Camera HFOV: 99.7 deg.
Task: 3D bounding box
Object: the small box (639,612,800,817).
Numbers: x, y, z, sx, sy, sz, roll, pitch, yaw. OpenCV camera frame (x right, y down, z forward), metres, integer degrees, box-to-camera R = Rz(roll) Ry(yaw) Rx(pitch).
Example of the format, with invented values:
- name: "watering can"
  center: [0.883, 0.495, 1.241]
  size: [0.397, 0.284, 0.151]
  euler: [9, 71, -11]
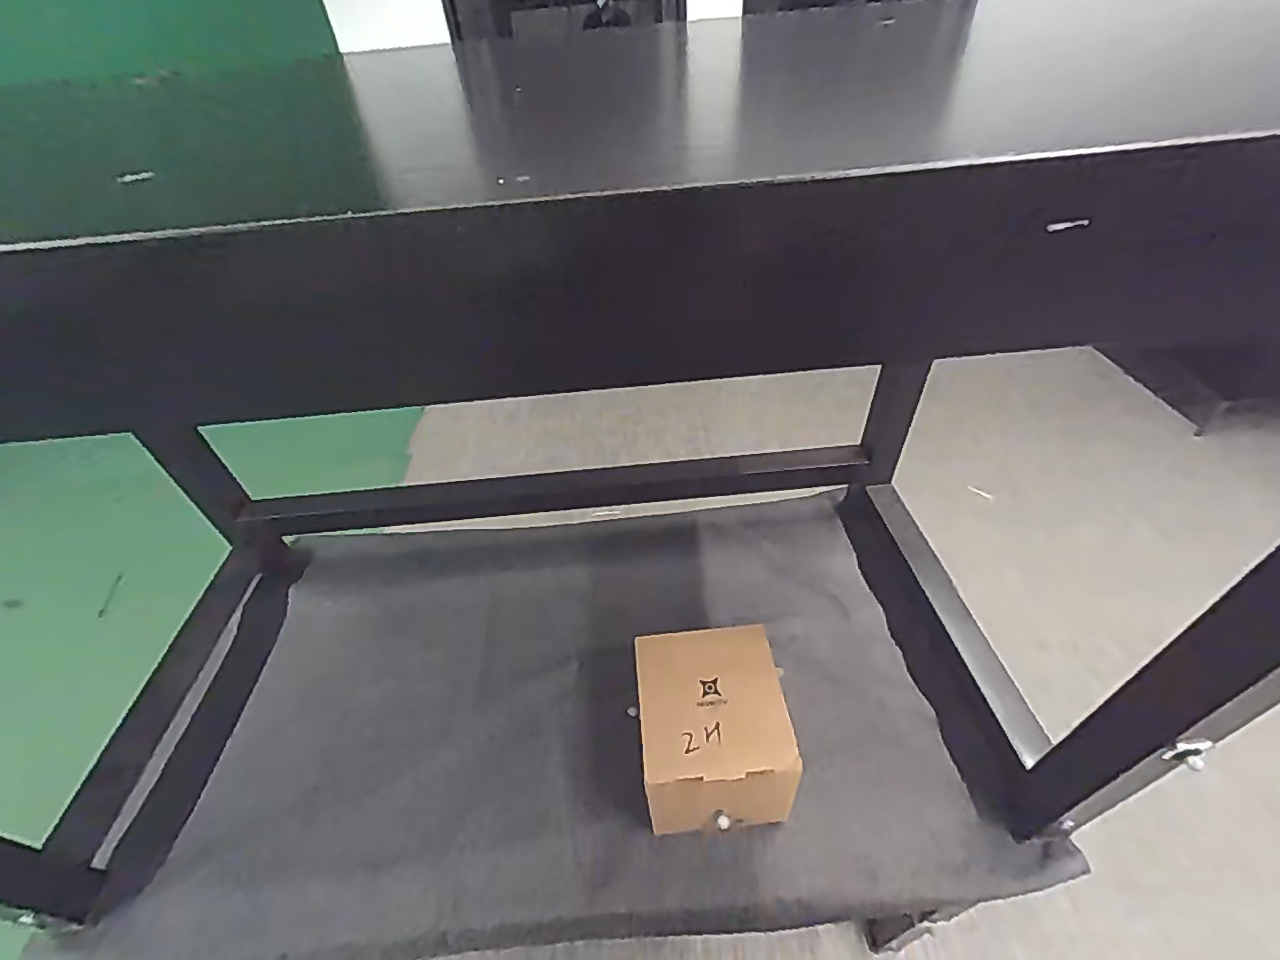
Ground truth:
- name: "small box"
  center: [0.087, 0.292, 0.677]
  size: [0.168, 0.176, 0.179]
  euler: [-6, 41, 0]
